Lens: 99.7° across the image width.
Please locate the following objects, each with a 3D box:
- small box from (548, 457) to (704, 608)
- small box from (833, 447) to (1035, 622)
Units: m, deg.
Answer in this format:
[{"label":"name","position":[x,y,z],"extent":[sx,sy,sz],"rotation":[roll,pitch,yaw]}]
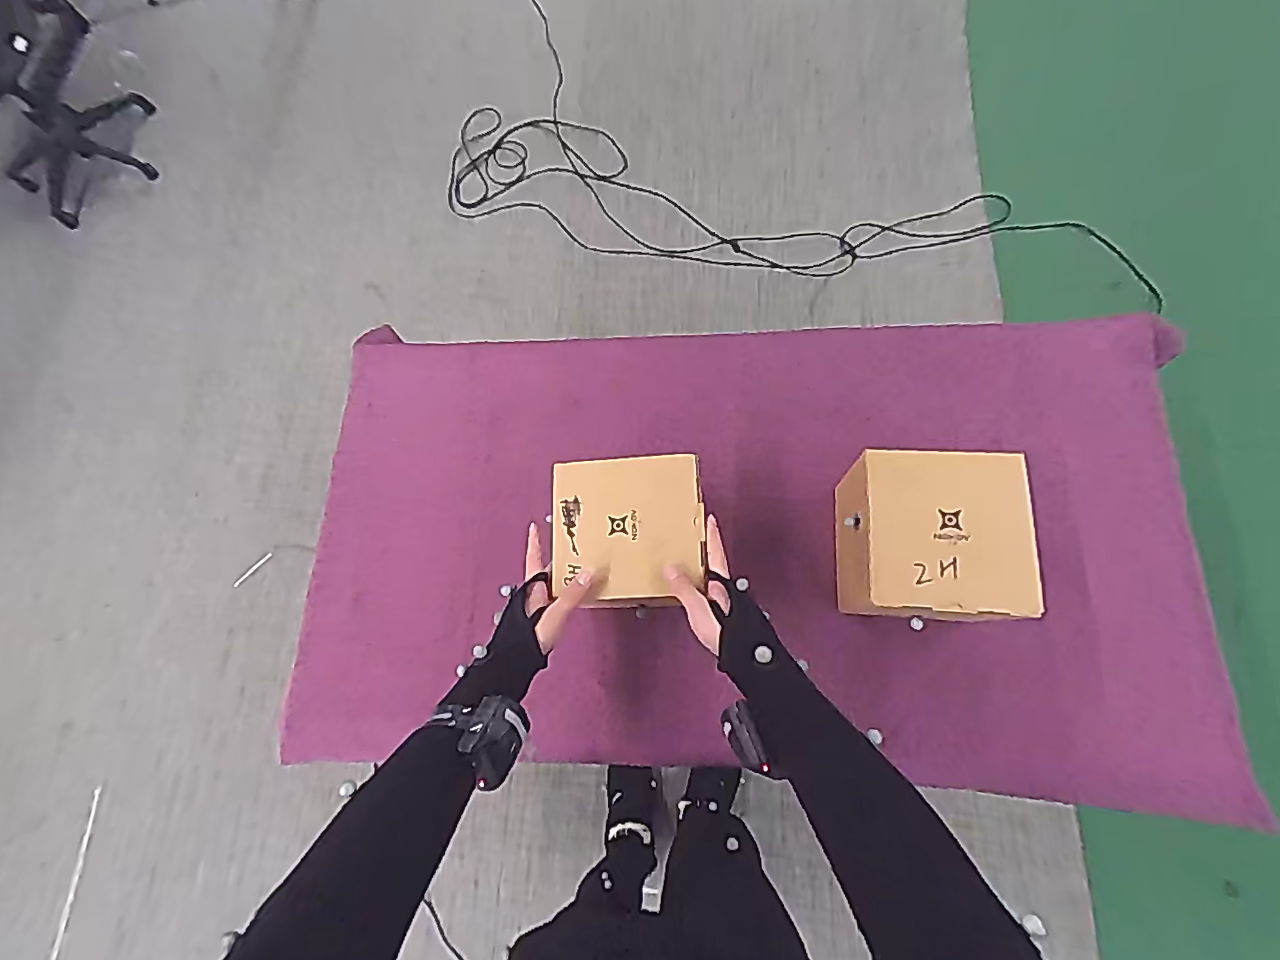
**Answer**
[{"label":"small box","position":[-0.010,0.076,0.698],"extent":[0.179,0.176,0.168],"rotation":[-3,73,6]},{"label":"small box","position":[0.334,0.073,0.652],"extent":[0.168,0.176,0.179],"rotation":[2,74,9]}]
